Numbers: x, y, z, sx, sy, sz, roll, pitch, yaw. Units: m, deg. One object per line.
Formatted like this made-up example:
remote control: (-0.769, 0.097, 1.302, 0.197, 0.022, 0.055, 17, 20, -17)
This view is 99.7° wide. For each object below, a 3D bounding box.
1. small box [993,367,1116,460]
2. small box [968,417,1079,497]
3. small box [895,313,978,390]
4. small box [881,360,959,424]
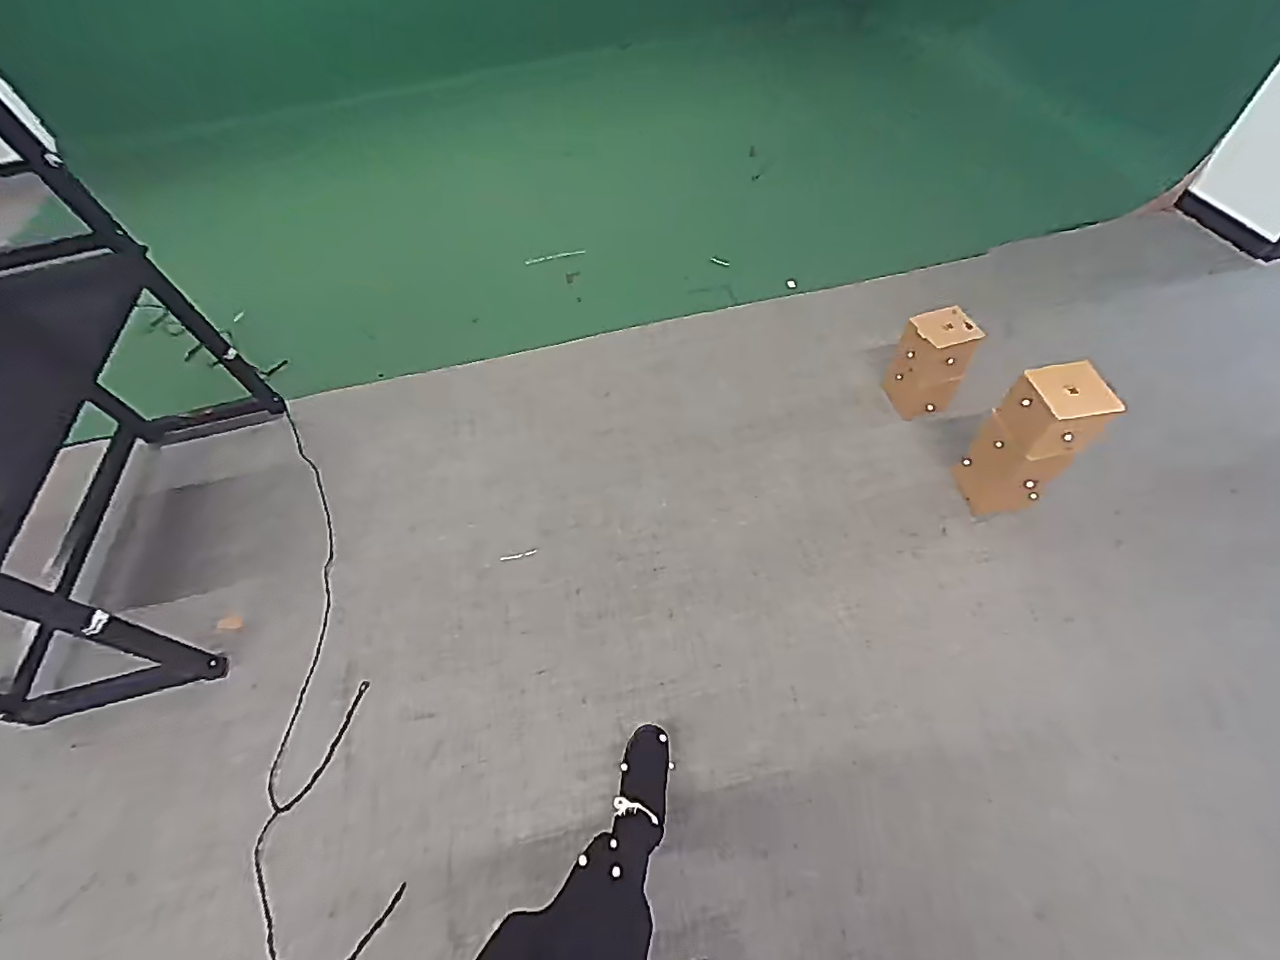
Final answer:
small box: (1.085, -0.168, 1.433, 0.168, 0.176, 0.179, -8, 54, 1)
small box: (1.097, -0.077, 1.566, 0.168, 0.176, 0.179, -12, 55, -2)
small box: (0.988, -0.428, 1.827, 0.179, 0.176, 0.168, -16, 55, -4)
small box: (1.003, -0.331, 1.958, 0.168, 0.176, 0.179, -13, 55, -3)
